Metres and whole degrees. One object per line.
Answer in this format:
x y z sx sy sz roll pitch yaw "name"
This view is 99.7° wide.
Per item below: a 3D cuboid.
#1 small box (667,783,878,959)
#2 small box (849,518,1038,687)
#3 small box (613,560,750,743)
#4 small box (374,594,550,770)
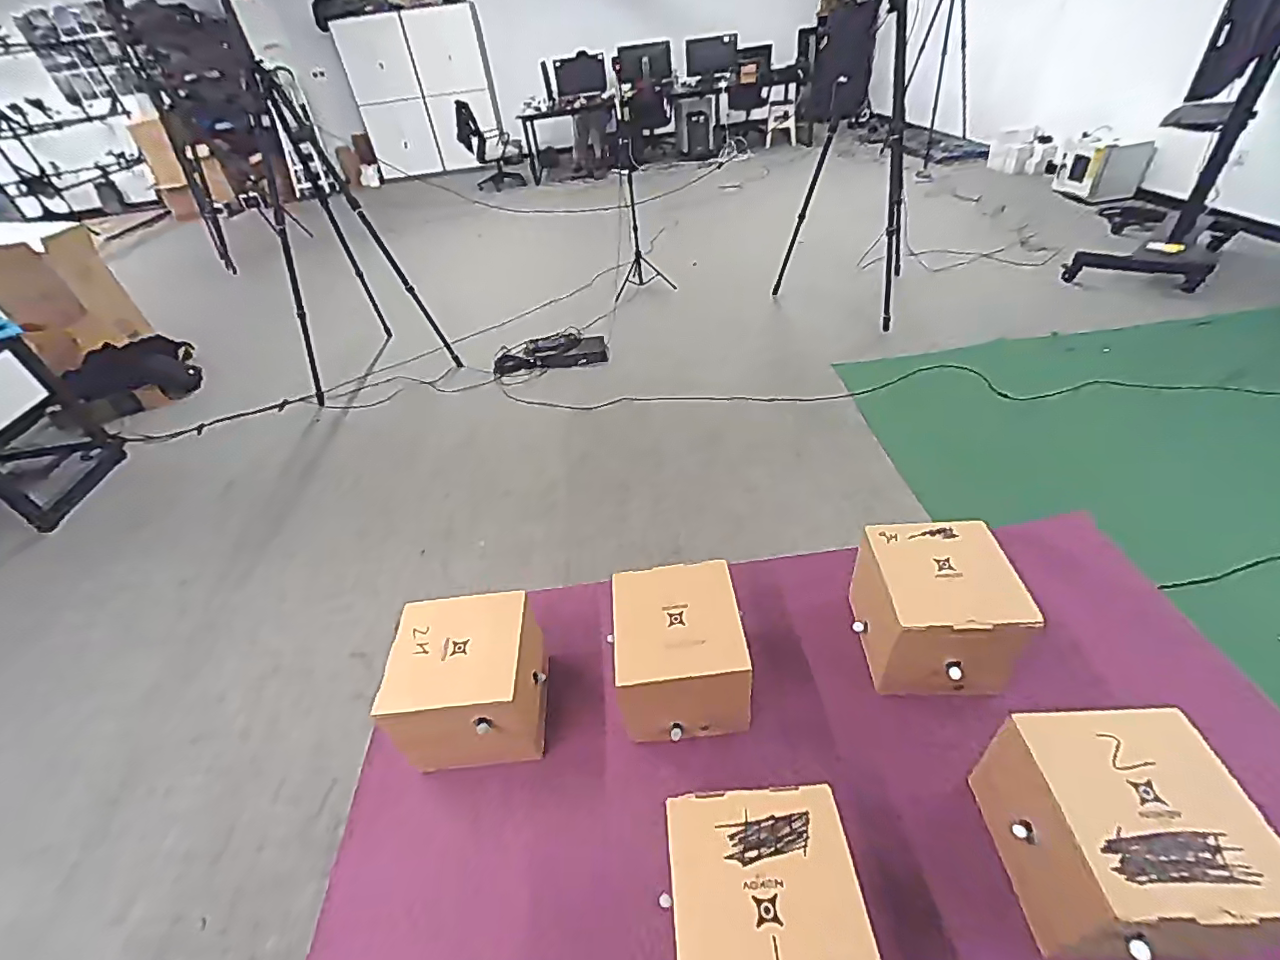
0.119 0.426 0.525 0.168 0.176 0.179 -8 40 3 "small box"
0.406 0.176 0.761 0.168 0.176 0.179 -3 41 6 "small box"
0.055 0.239 0.758 0.168 0.176 0.179 -8 41 2 "small box"
-0.230 0.284 0.758 0.179 0.176 0.168 -8 40 2 "small box"
